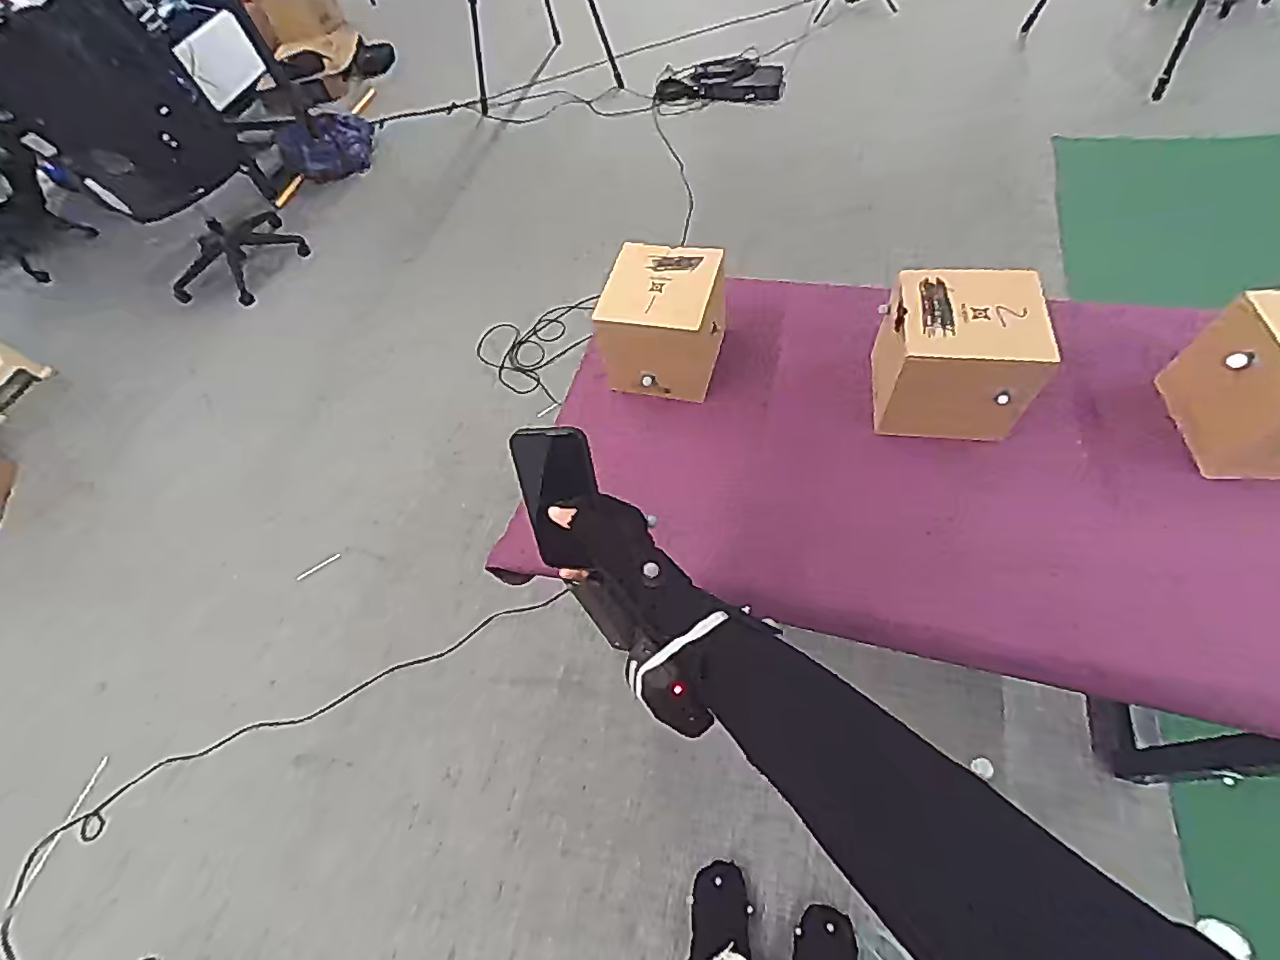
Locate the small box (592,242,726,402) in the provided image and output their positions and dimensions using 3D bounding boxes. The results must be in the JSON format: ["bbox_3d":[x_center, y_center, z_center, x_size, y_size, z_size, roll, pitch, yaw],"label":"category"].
[{"bbox_3d":[0.040,-0.254,0.879,0.168,0.176,0.179,11,63,15],"label":"small box"}]

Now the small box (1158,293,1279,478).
[{"bbox_3d":[0.813,-0.111,0.669,0.168,0.176,0.179,0,59,10],"label":"small box"}]
